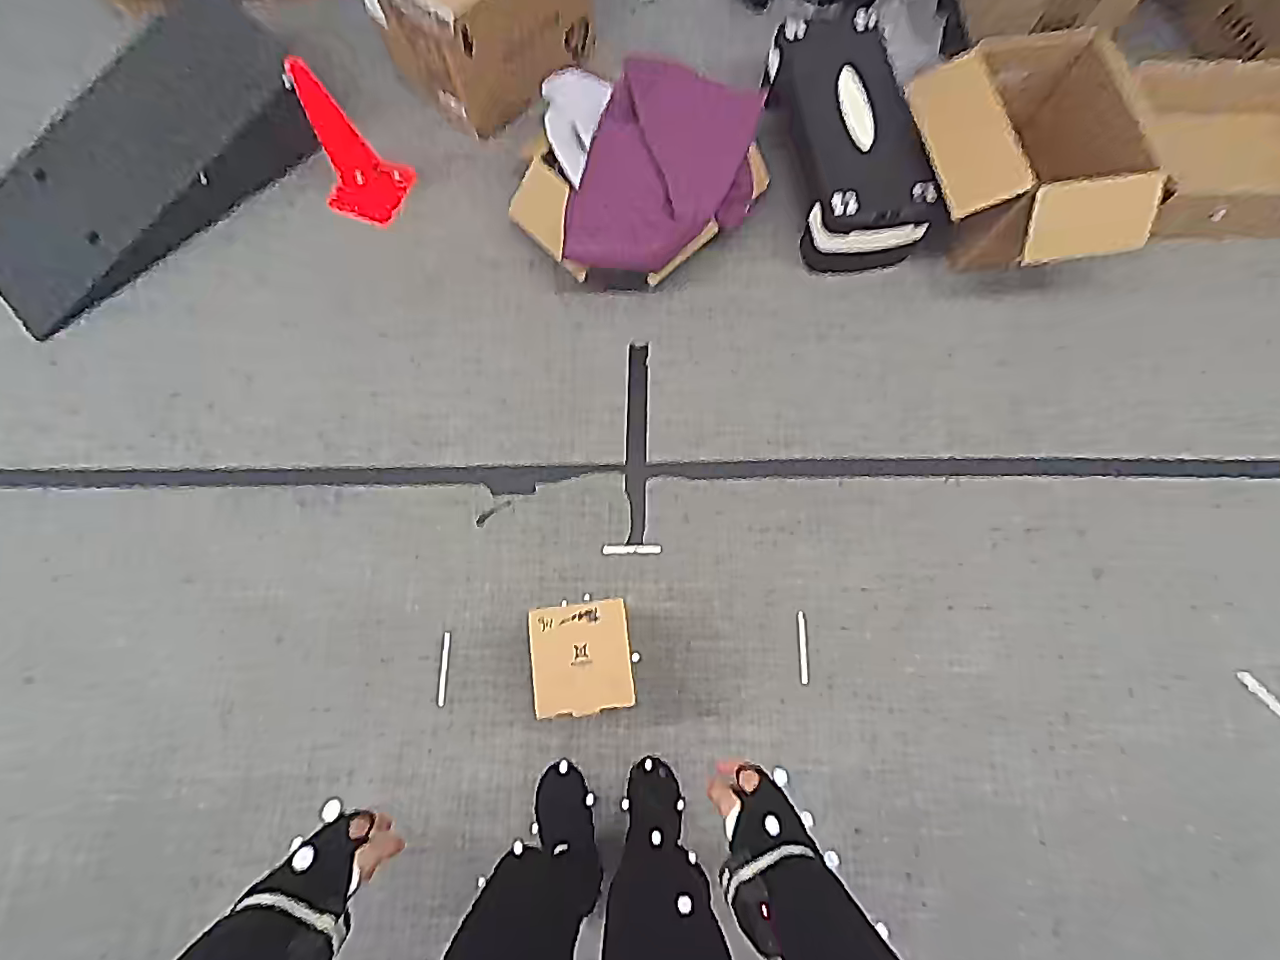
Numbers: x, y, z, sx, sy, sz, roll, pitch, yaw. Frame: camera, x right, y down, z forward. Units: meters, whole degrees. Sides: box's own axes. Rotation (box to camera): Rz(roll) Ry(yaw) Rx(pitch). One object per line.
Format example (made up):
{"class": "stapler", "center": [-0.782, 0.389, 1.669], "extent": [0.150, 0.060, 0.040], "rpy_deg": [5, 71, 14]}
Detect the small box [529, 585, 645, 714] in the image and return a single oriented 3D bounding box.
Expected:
{"class": "small box", "center": [-0.081, 0.274, 0.900], "extent": [0.168, 0.176, 0.179], "rpy_deg": [-7, 76, -2]}
